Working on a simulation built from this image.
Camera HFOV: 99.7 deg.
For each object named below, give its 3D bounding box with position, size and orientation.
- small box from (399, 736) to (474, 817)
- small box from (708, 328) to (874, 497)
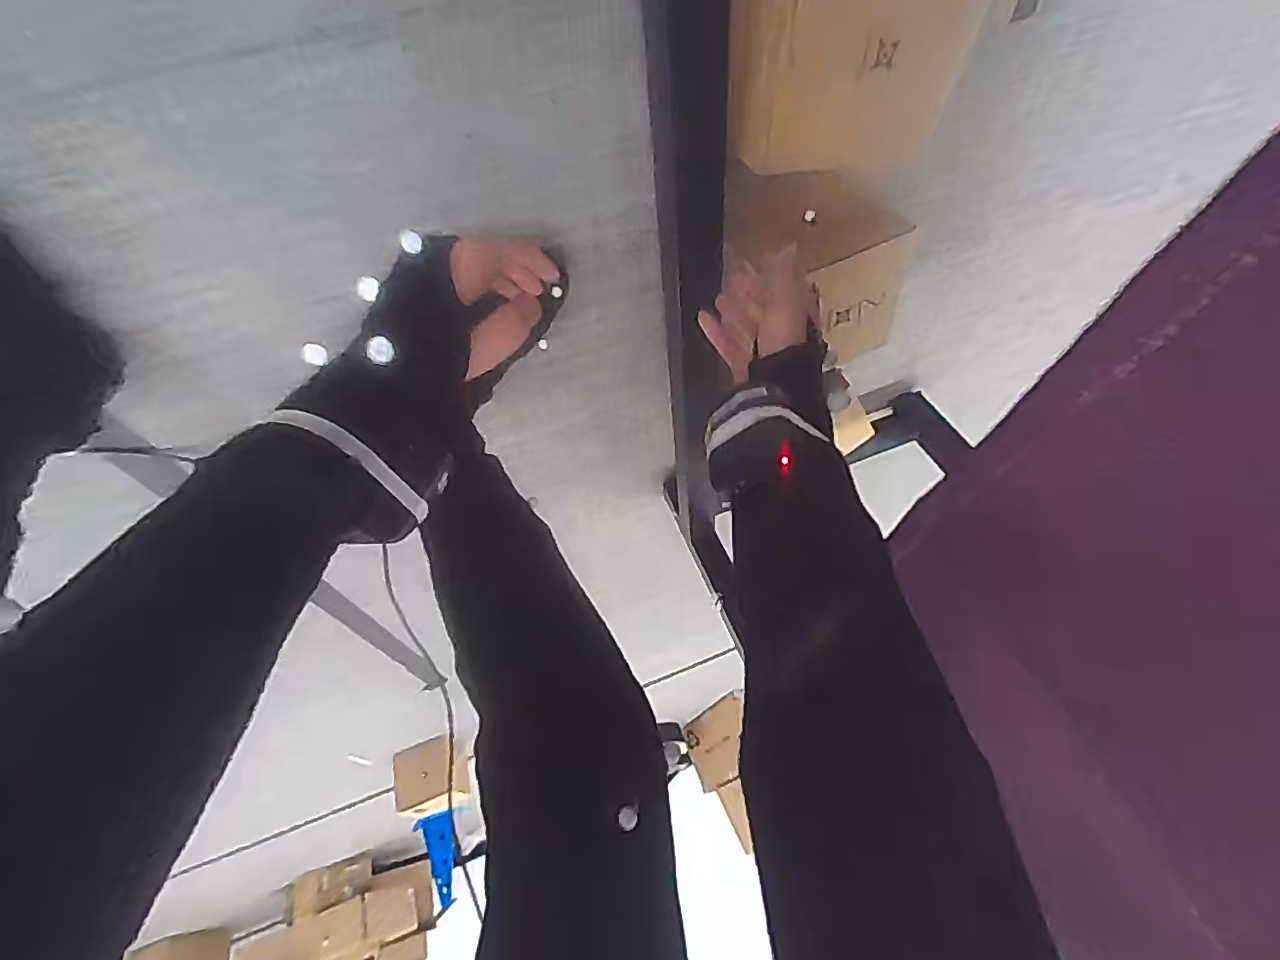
[{"bbox_3d":[-0.658,0.955,1.742,0.179,0.176,0.168,-21,145,-5],"label":"small box"},{"bbox_3d":[0.239,-0.108,0.871,0.179,0.176,0.168,-37,143,16],"label":"small box"}]
